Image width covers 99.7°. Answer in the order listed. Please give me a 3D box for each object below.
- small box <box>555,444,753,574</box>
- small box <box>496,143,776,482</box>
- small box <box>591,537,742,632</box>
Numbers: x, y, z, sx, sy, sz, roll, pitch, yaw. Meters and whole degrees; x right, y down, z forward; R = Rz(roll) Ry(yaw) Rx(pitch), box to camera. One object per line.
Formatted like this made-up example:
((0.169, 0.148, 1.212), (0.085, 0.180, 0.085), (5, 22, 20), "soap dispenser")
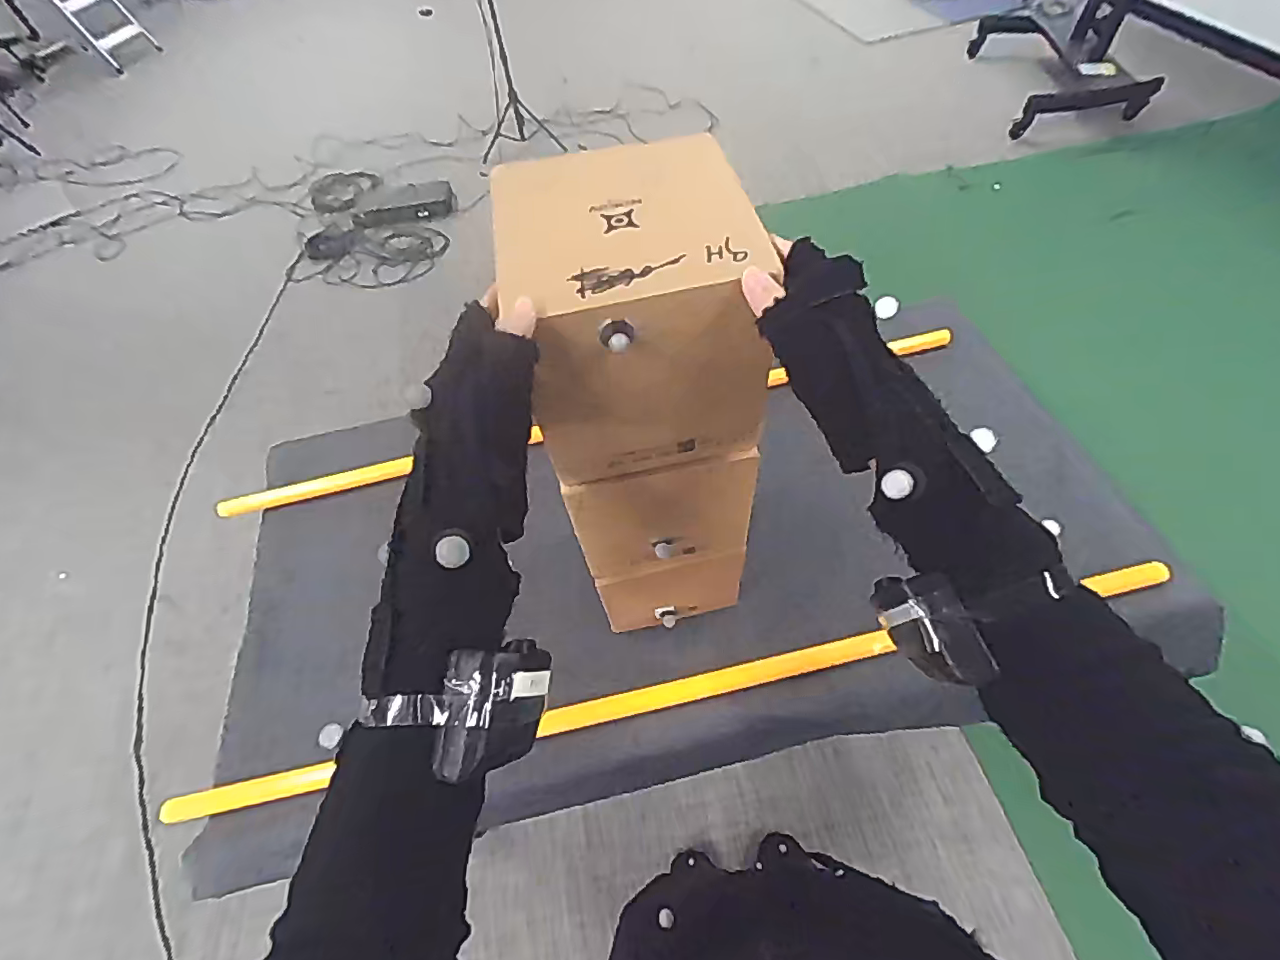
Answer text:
((0.006, -0.027, 0.554), (0.168, 0.176, 0.179), (-11, 56, -1), "small box")
((-0.007, -0.125, 0.422), (0.168, 0.176, 0.179), (-11, 55, -1), "small box")
((0.019, 0.069, 0.687), (0.168, 0.176, 0.179), (-14, 57, -3), "small box")
